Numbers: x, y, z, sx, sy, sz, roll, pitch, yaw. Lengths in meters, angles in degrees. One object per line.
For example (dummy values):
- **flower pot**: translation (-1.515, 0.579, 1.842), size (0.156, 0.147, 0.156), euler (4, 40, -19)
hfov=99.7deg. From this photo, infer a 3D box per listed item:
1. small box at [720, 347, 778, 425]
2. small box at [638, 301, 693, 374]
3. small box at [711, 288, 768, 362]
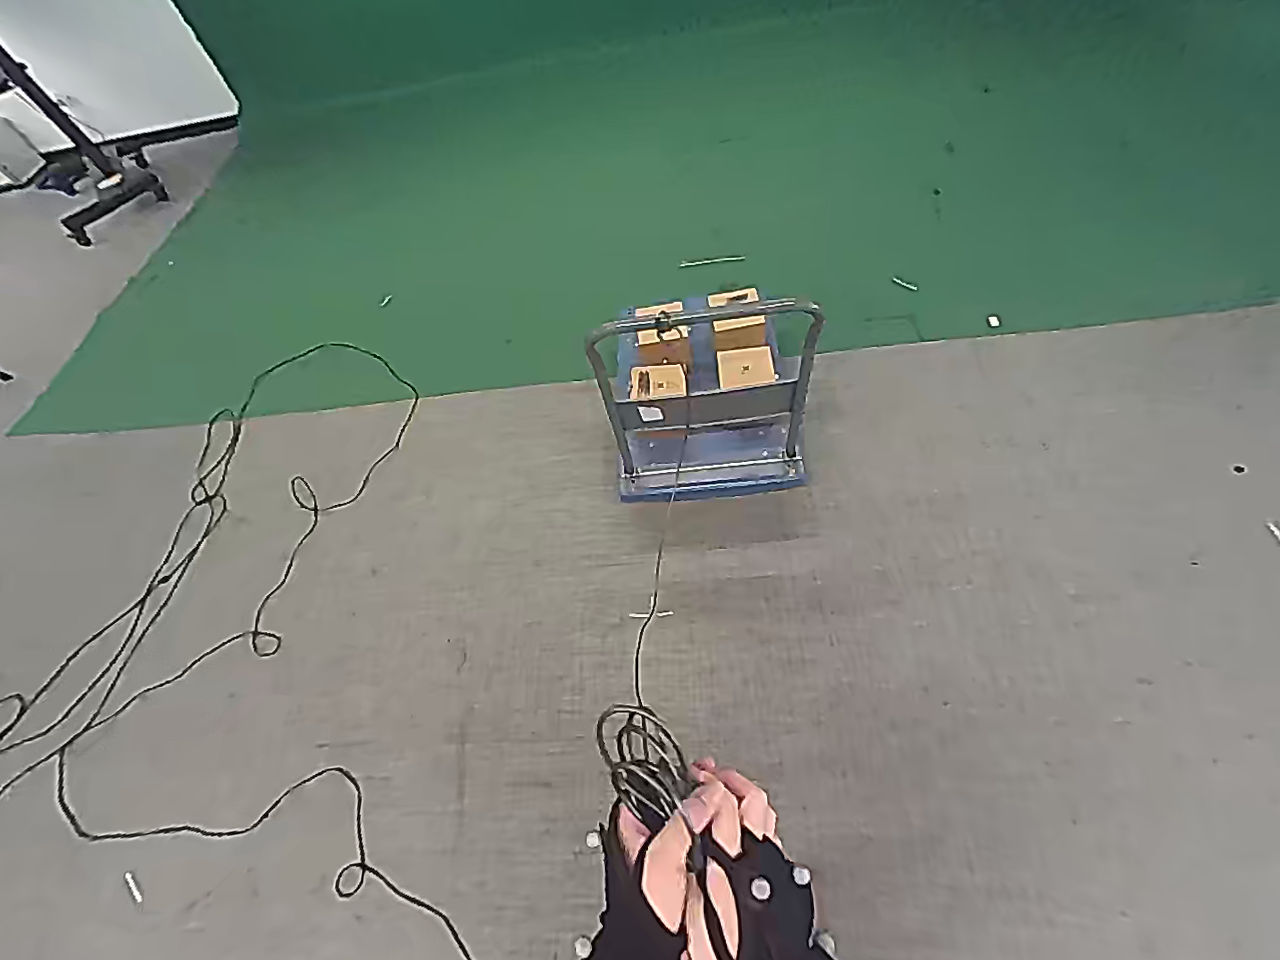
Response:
- **small box**: translation (0.341, -0.296, 1.716), size (0.168, 0.176, 0.179), euler (-4, 59, 7)
- **small box**: translation (0.090, -0.488, 1.880), size (0.168, 0.176, 0.179), euler (-8, 57, 4)
- **small box**: translation (0.338, -0.525, 1.859), size (0.168, 0.176, 0.179), euler (-9, 58, 6)
